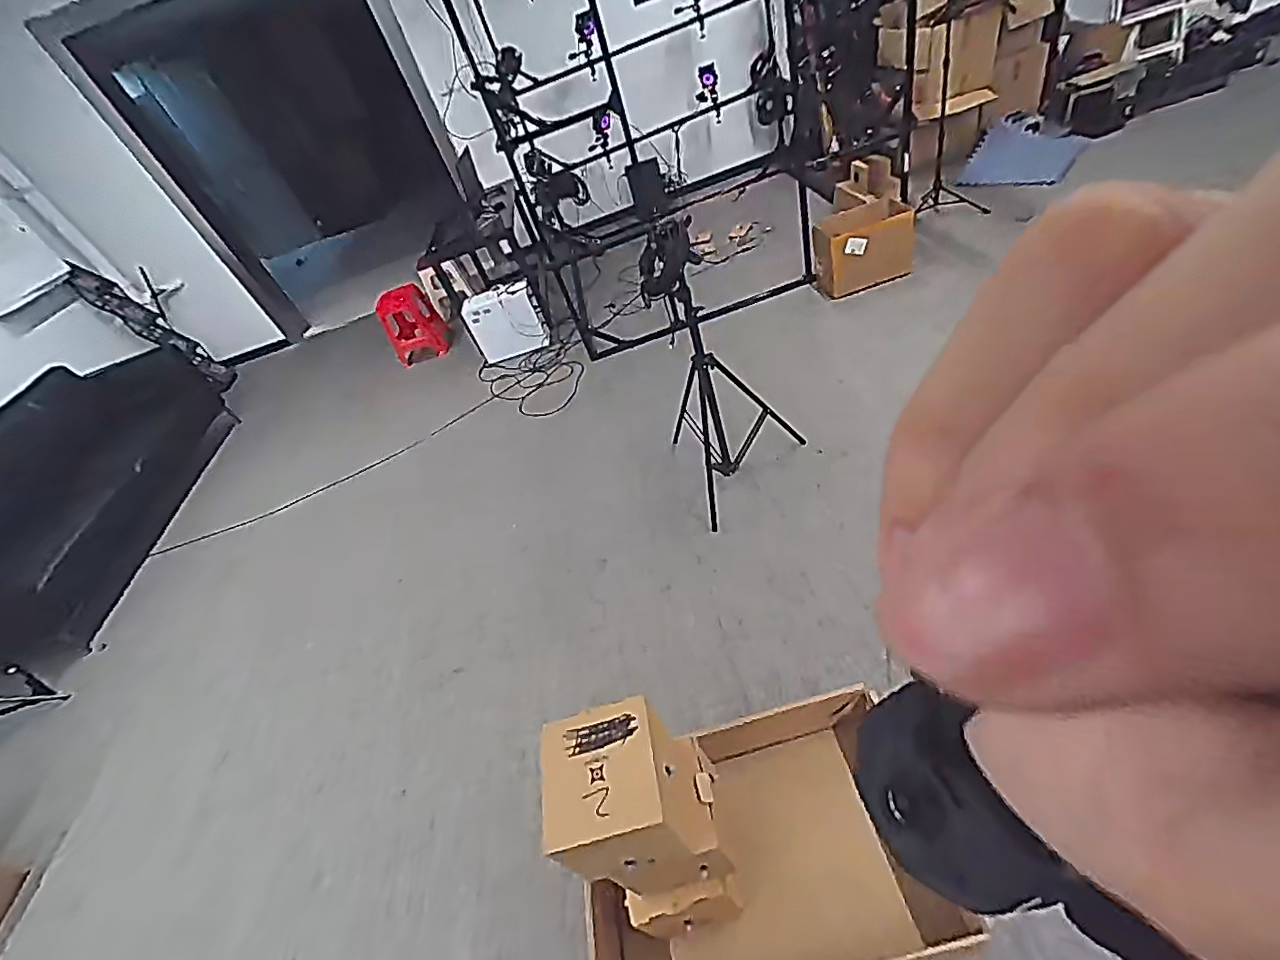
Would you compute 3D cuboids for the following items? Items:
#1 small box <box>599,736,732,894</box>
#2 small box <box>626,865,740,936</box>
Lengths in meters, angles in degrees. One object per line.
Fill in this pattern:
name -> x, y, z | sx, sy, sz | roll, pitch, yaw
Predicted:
small box -> 0.046, 0.558, 0.899 | 0.179, 0.176, 0.168 | -19, 41, 5
small box -> 0.068, 0.695, 0.993 | 0.168, 0.176, 0.179 | -22, 42, 2
